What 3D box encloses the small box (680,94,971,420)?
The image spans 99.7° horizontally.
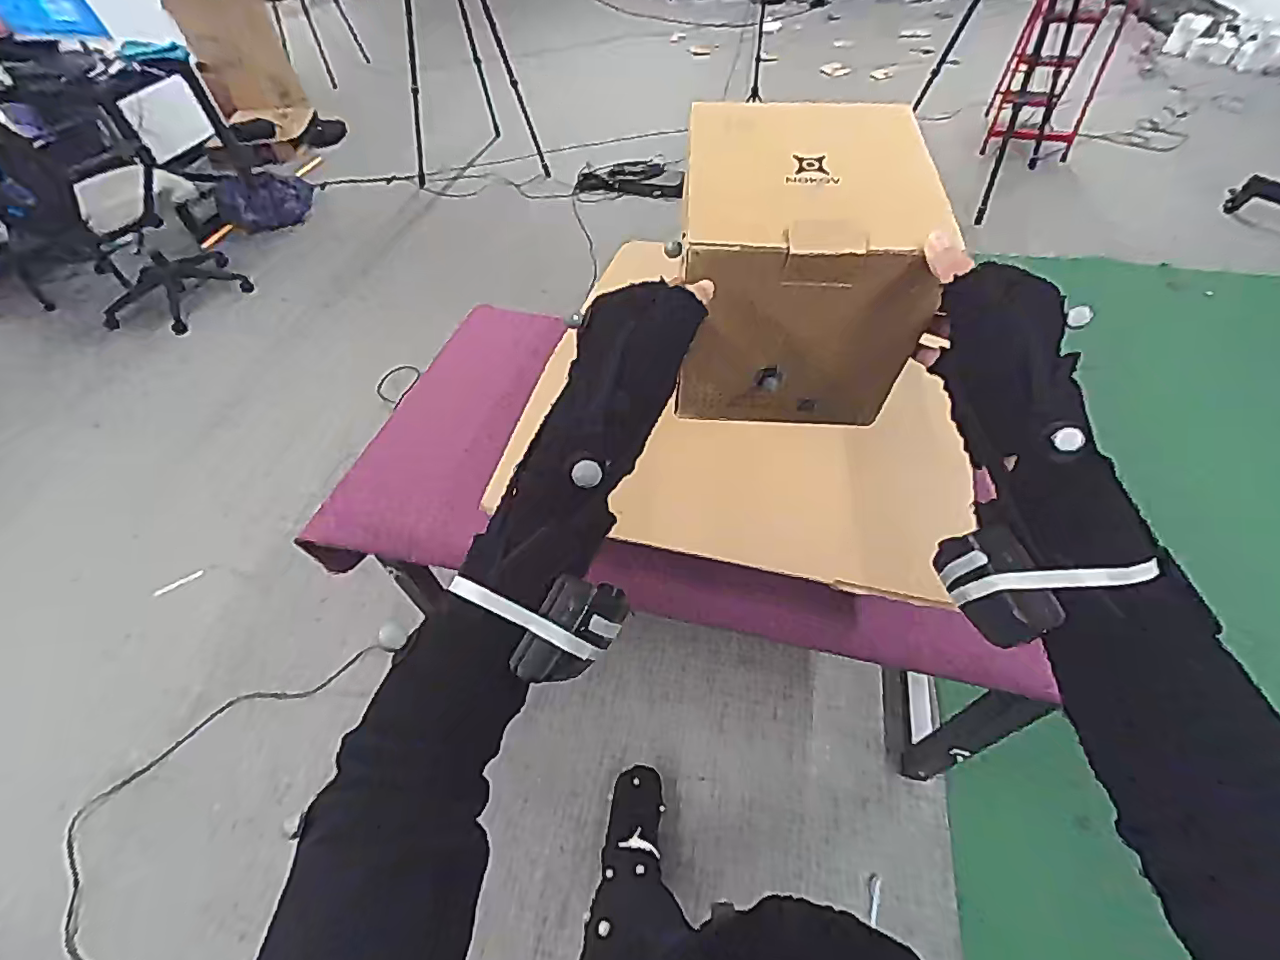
[{"bbox_3d":[0.120,-0.171,0.433,0.168,0.176,0.179,3,60,2],"label":"small box"}]
